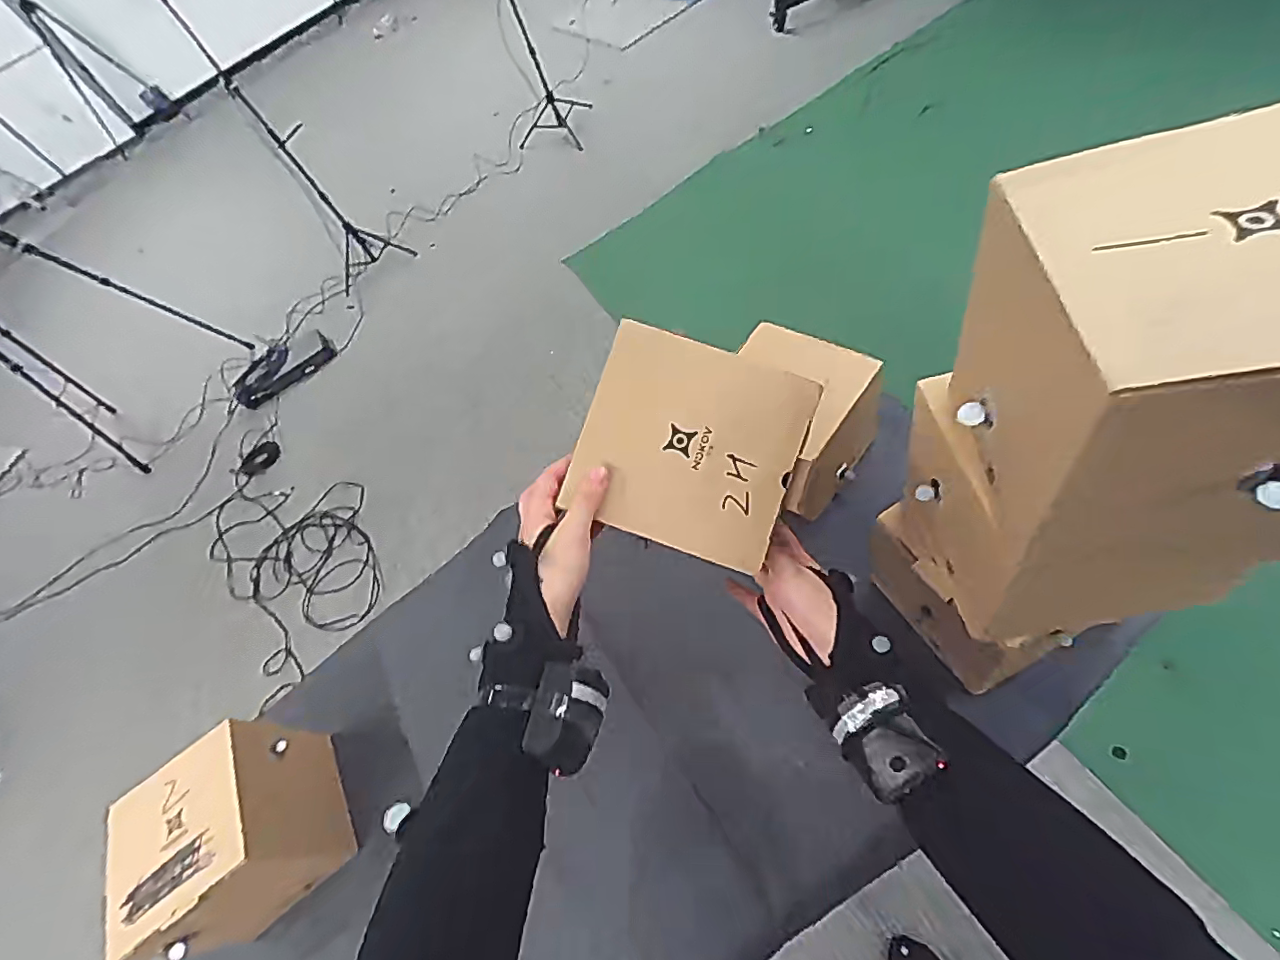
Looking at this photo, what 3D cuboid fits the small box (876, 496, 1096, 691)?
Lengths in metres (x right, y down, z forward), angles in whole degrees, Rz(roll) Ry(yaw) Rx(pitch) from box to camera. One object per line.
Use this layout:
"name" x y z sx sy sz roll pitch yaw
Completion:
"small box" 0.375 0.094 0.565 0.179 0.176 0.168 -32 51 0

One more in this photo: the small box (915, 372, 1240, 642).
"small box" 0.334 0.014 0.427 0.179 0.176 0.168 -14 53 12

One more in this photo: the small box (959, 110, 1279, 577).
"small box" 0.293 -0.058 0.283 0.179 0.176 0.168 -6 55 18

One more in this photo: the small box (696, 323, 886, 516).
"small box" 0.205 -0.076 0.735 0.179 0.176 0.168 30 76 30
